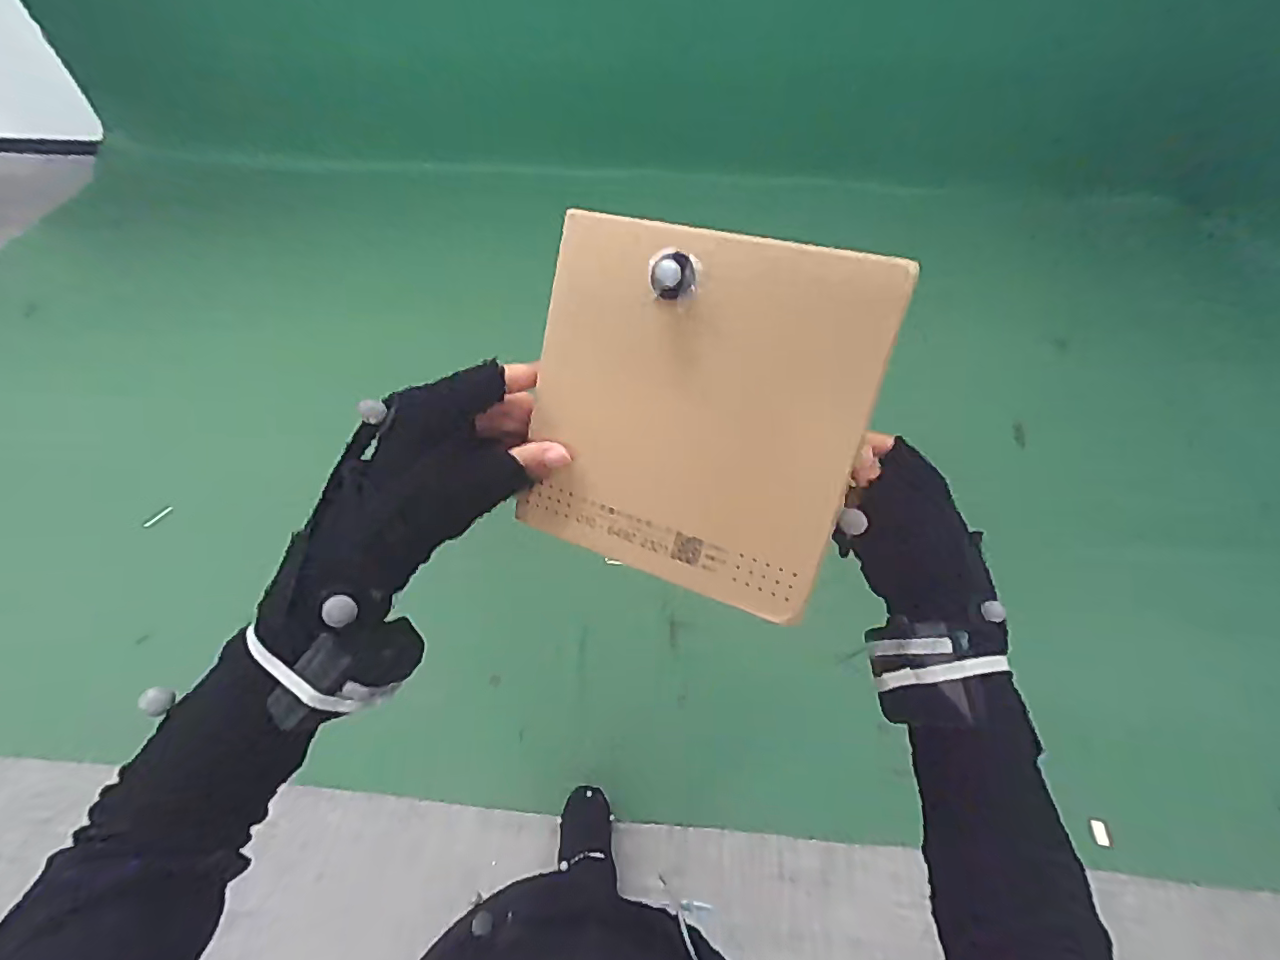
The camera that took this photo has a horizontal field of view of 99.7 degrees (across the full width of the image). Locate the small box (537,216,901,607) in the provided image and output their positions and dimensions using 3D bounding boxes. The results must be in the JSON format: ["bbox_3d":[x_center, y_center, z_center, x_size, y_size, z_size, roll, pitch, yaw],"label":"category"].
[{"bbox_3d":[0.053,-0.046,0.347,0.168,0.176,0.179,19,16,21],"label":"small box"}]
